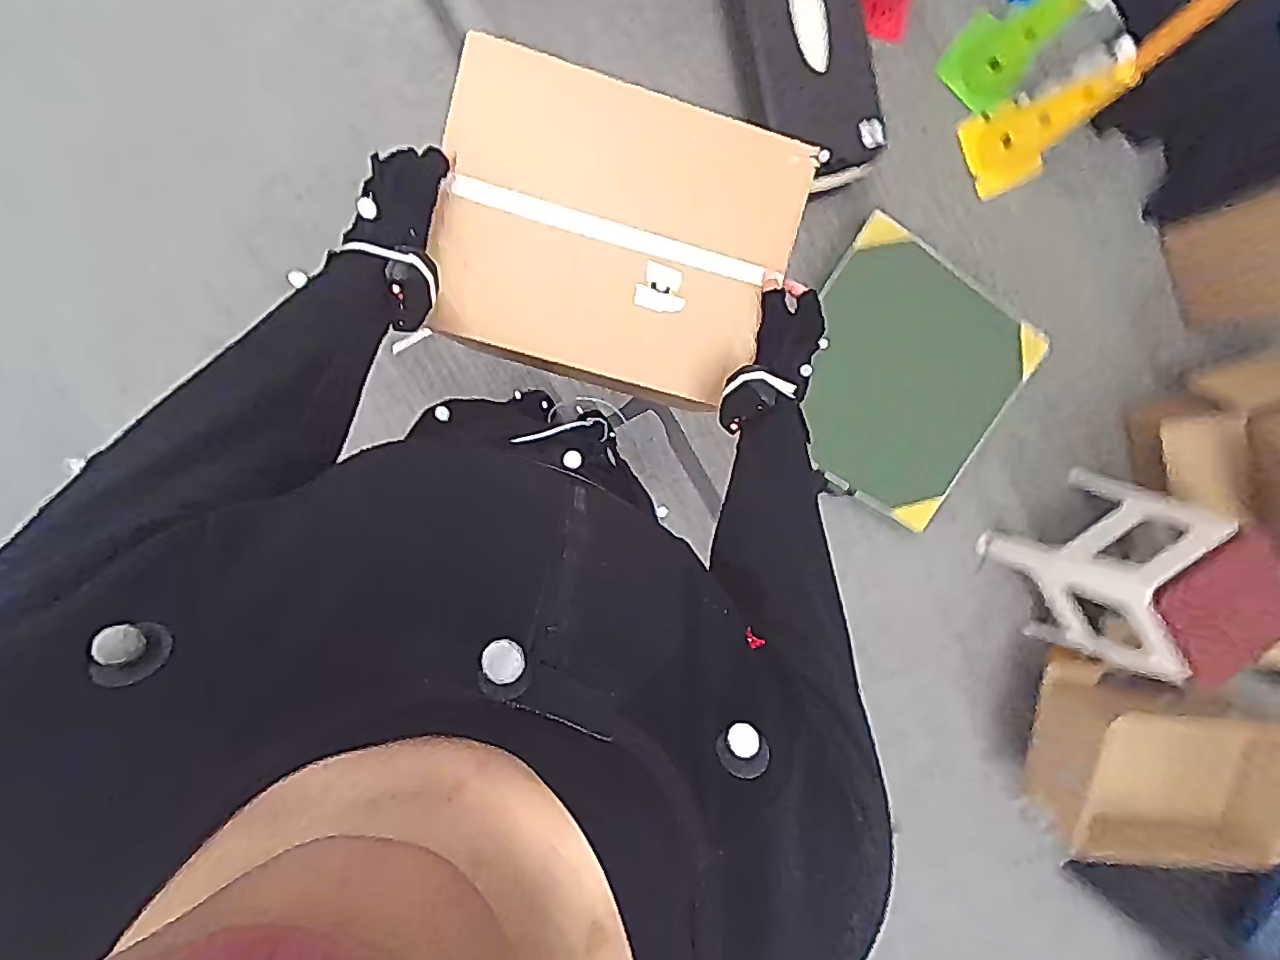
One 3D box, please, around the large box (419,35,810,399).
[{"bbox_3d":[-0.043,-0.312,0.767,0.408,0.320,0.320,14,98,-7],"label":"large box"}]
